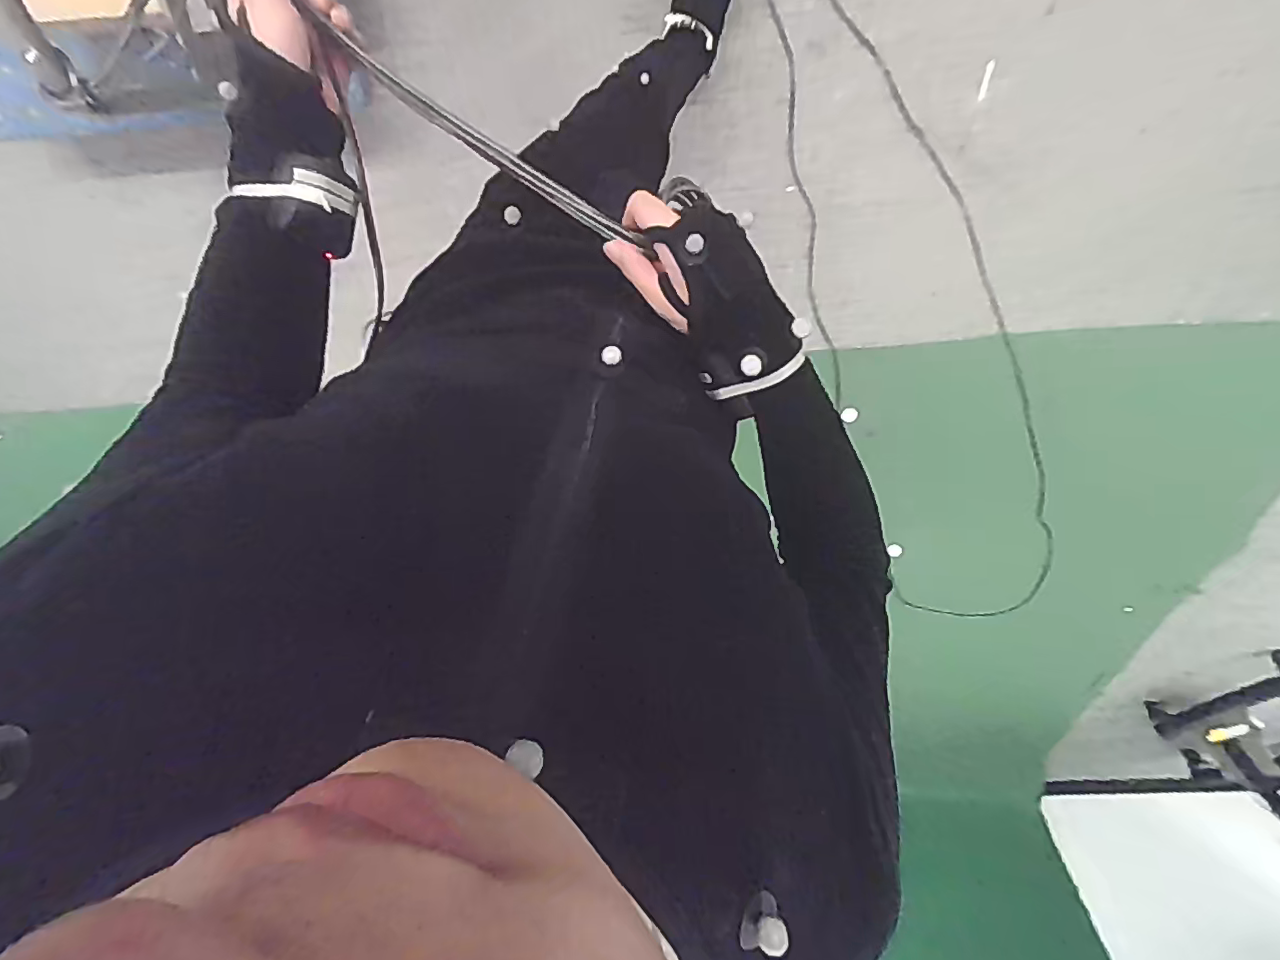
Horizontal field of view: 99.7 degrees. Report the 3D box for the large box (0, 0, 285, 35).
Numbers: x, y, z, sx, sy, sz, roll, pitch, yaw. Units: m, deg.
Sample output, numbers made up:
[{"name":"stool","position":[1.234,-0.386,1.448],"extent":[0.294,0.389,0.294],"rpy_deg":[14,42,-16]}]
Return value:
[{"name":"large box","position":[-0.842,-0.854,0.776],"extent":[0.408,0.320,0.320],"rpy_deg":[-1,129,3]}]
